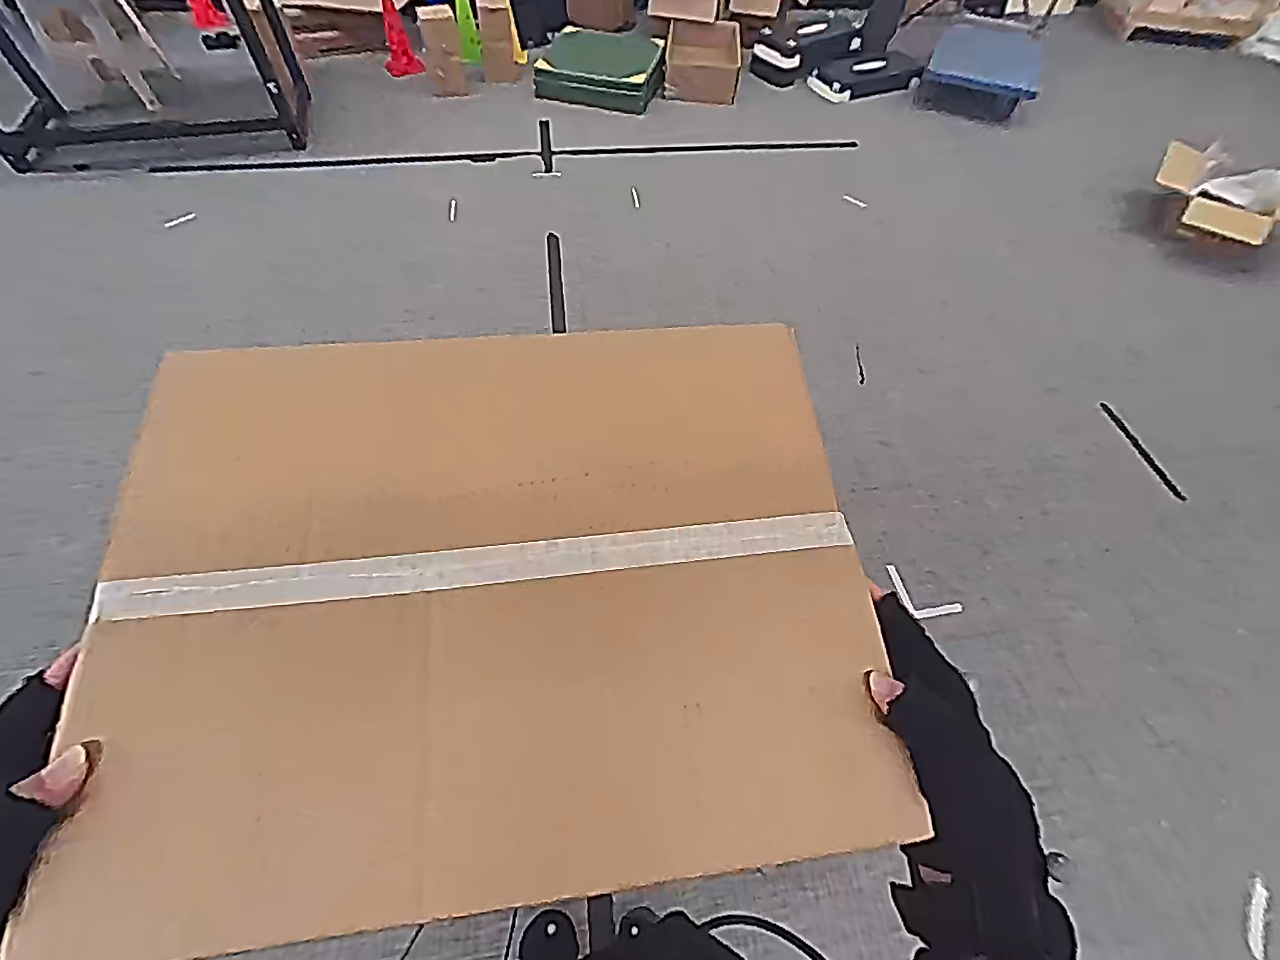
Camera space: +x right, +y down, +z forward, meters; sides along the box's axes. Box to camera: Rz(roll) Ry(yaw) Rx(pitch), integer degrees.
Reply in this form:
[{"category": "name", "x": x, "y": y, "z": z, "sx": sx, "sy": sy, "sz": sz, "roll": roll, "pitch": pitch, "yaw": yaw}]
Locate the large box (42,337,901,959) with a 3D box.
[{"category": "large box", "x": -0.088, "y": 0.113, "z": 0.444, "sx": 0.408, "sy": 0.320, "sz": 0.320, "roll": -5, "pitch": 67, "yaw": -6}]
